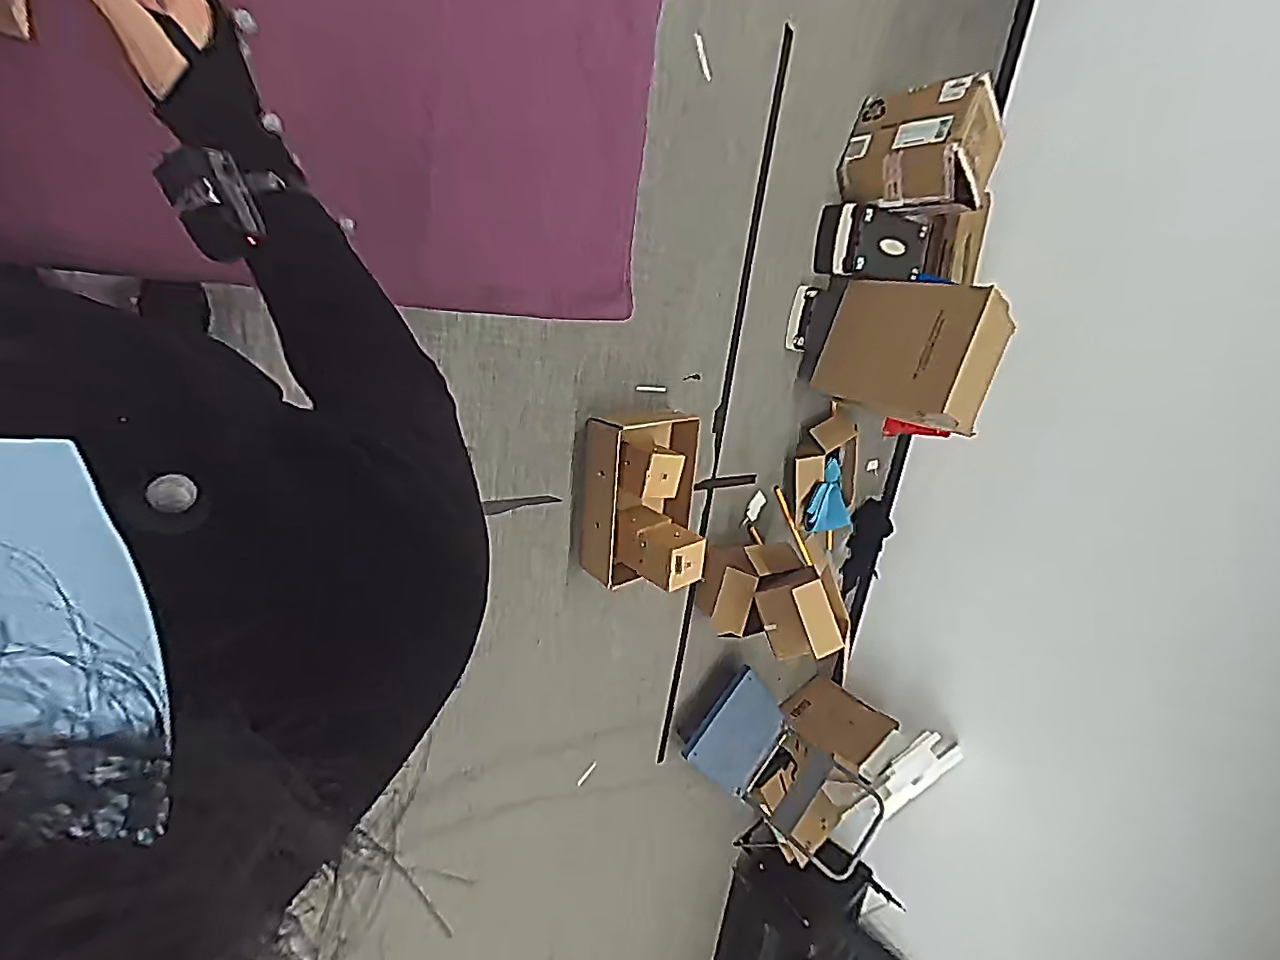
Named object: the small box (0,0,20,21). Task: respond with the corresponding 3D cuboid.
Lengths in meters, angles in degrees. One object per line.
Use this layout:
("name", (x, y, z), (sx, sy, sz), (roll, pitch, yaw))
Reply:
("small box", (-0.518, -0.423, 0.326), (0.179, 0.176, 0.168), (-5, 111, -42))

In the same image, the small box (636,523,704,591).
("small box", (0.105, 0.272, 1.953), (0.179, 0.176, 0.168), (-12, 116, -41))

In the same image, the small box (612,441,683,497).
("small box", (0.025, -0.042, 1.982), (0.179, 0.176, 0.168), (1, 108, -44))
